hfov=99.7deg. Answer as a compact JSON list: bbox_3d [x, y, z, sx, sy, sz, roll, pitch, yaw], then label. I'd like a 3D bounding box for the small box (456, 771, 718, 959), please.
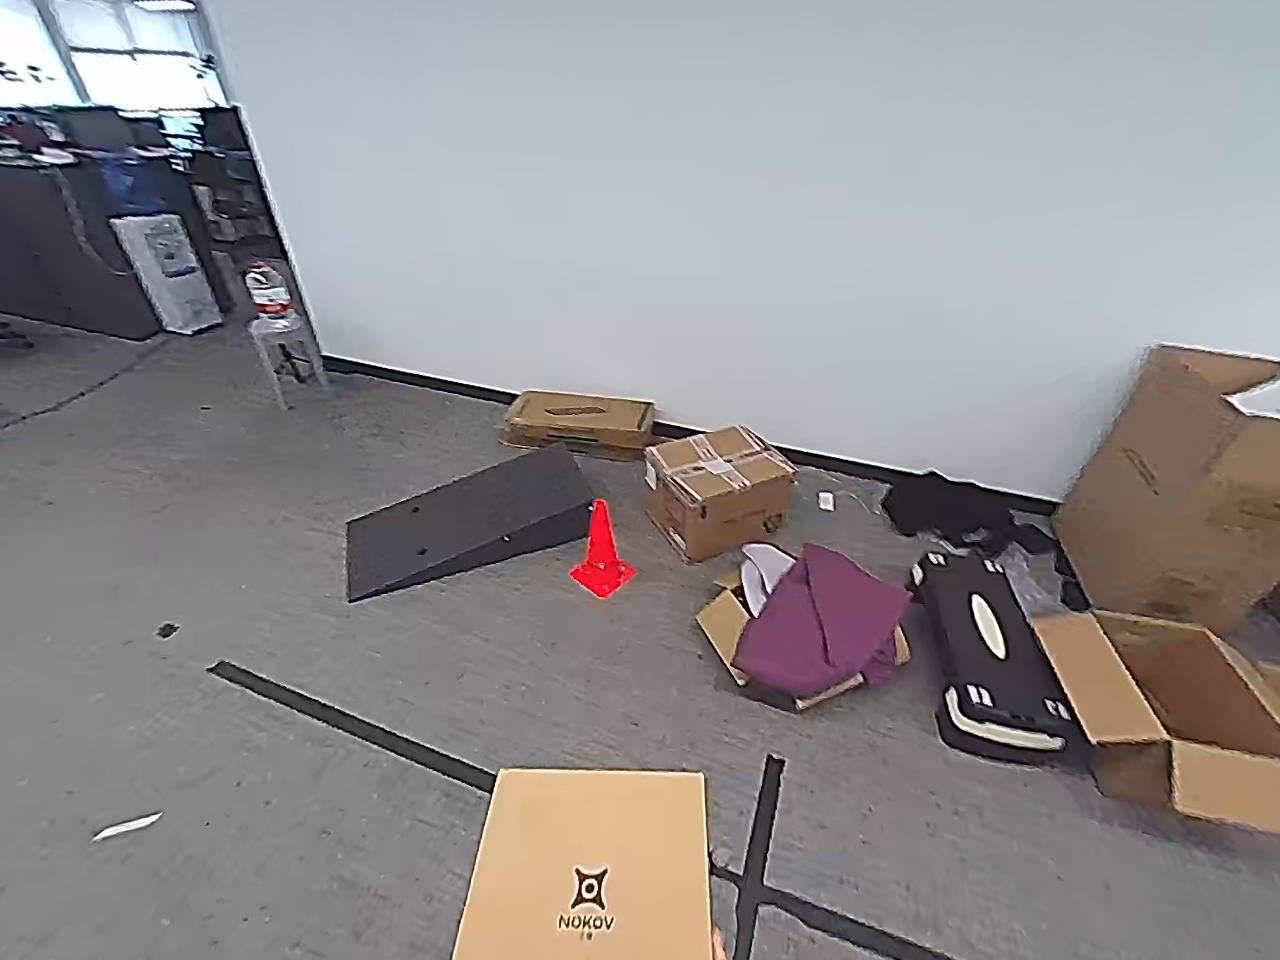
[{"bbox_3d":[-0.029,0.346,0.403,0.168,0.176,0.179,-2,37,4],"label":"small box"}]
